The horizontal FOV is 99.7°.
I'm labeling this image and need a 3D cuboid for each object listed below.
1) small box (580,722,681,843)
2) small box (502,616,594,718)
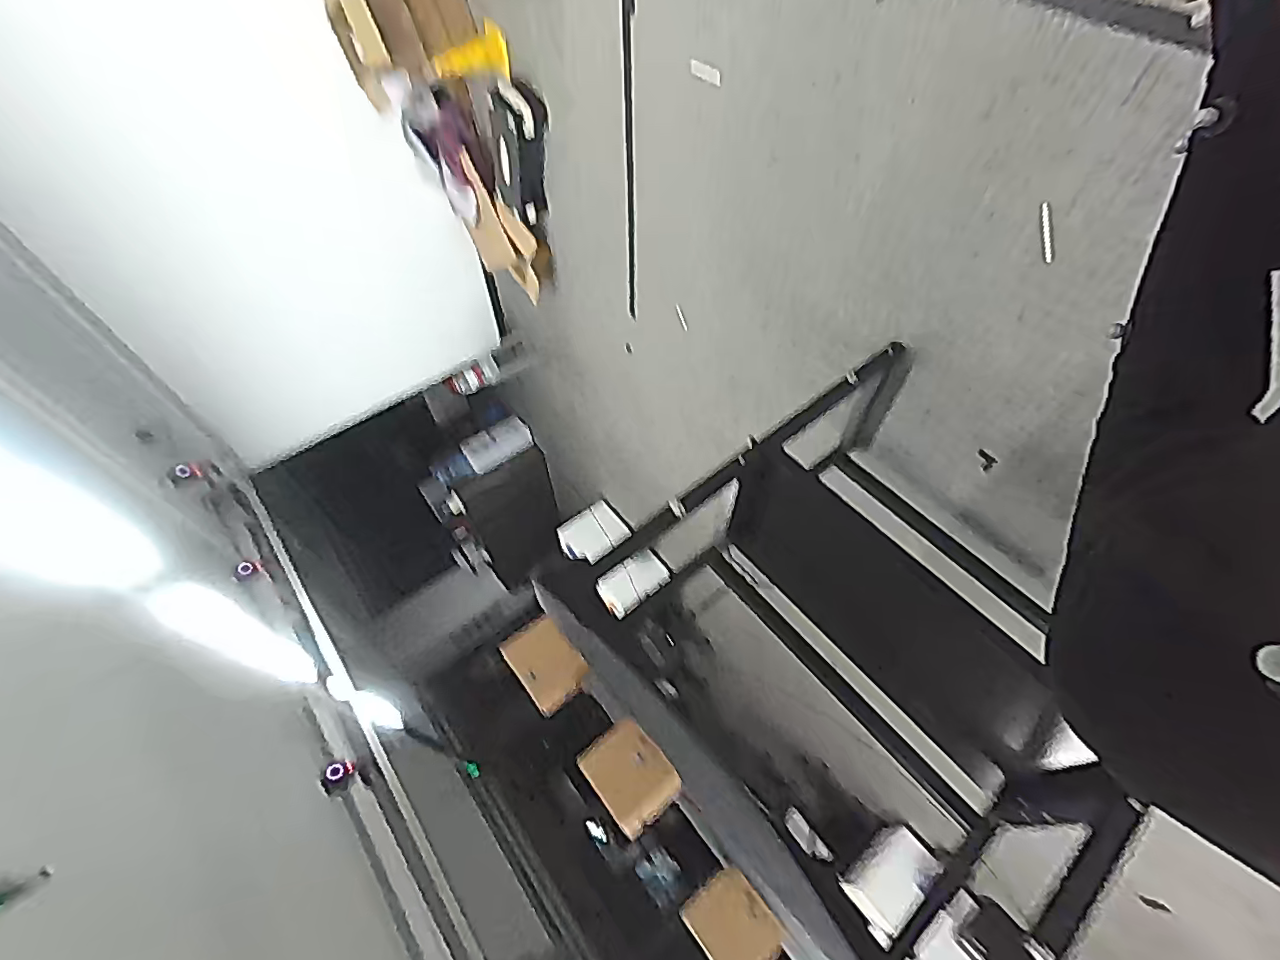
[{"bbox_3d":[-0.016,0.712,1.280,0.168,0.176,0.179,41,154,33],"label":"small box"},{"bbox_3d":[-0.231,0.486,1.406,0.168,0.176,0.179,46,158,22],"label":"small box"}]
